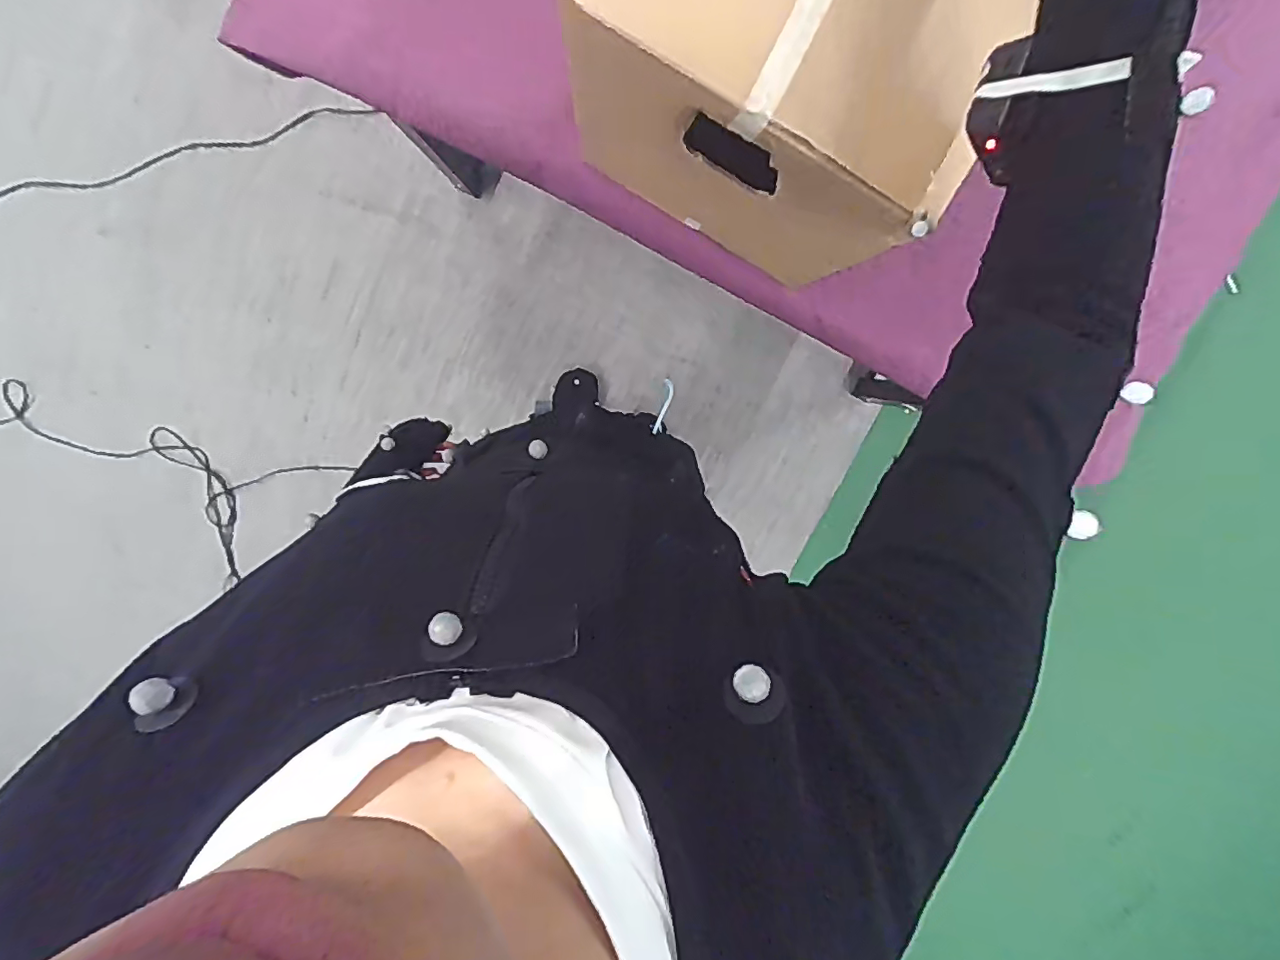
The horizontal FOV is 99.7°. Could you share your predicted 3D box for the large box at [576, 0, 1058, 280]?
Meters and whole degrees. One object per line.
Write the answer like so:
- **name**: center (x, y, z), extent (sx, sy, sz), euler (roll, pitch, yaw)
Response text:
- **large box**: center (0.170, -0.465, 0.512), extent (0.320, 0.320, 0.408), euler (28, 100, -8)
